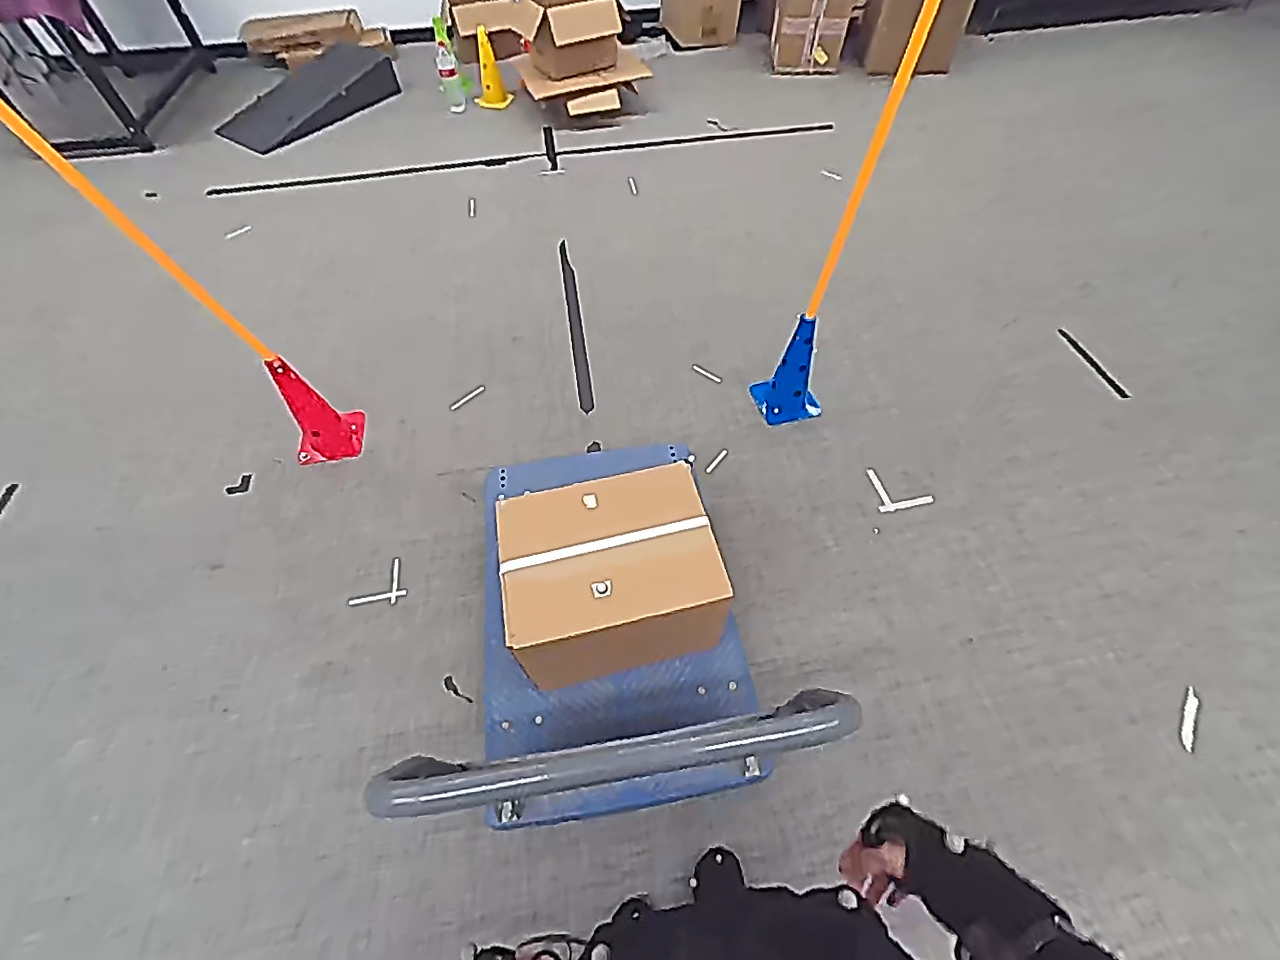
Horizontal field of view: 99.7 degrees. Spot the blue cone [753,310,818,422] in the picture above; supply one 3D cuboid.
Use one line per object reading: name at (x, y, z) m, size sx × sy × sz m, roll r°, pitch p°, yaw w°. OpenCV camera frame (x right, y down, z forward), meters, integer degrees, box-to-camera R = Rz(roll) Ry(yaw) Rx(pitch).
blue cone at (0.506, -0.377, 1.748) m, size 0.193 × 0.380 × 0.192 m, roll -12°, pitch 55°, yaw -7°
